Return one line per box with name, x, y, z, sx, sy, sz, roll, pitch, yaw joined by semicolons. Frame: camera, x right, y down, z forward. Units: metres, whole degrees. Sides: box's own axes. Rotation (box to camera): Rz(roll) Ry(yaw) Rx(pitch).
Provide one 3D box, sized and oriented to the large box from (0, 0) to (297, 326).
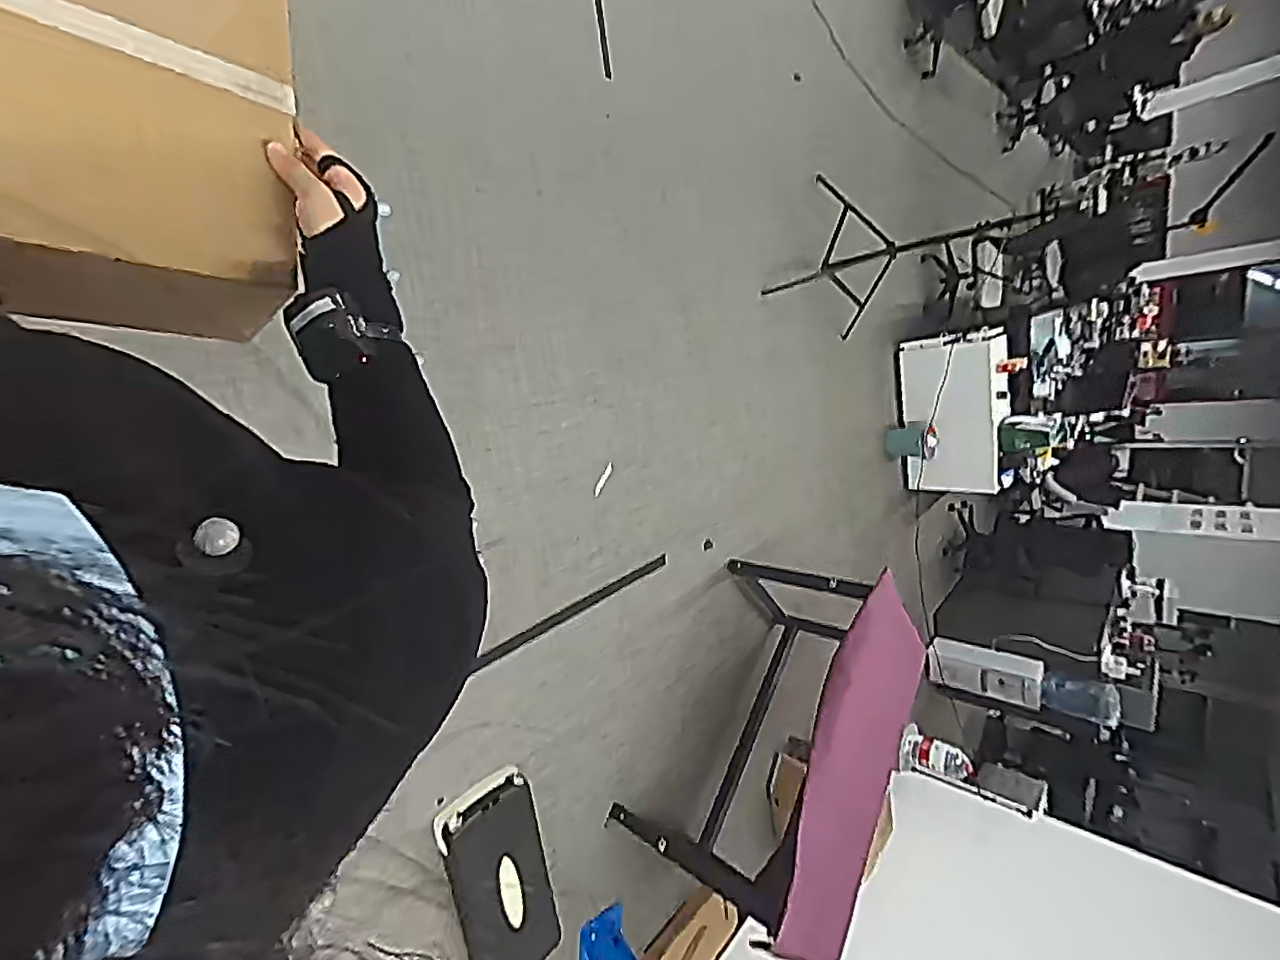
large box;-0.557;-0.328;0.451;0.408;0.320;0.320;-5;93;-42
